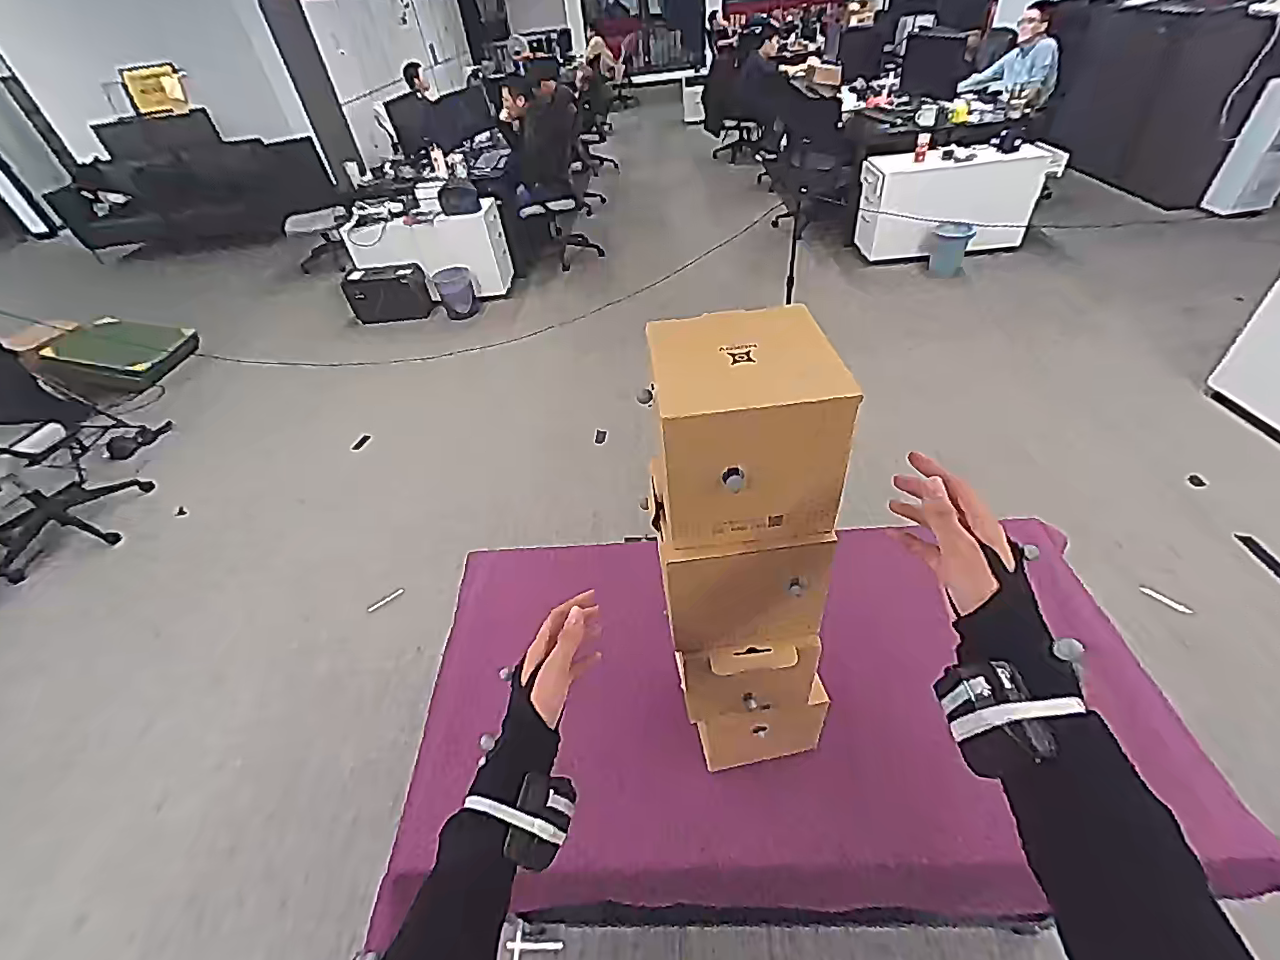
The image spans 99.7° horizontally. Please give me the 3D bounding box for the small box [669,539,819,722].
[{"bbox_3d":[0.133,0.208,0.750,0.168,0.176,0.179,-7,42,1],"label":"small box"}]

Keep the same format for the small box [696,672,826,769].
[{"bbox_3d":[0.170,0.332,0.854,0.179,0.176,0.168,-10,42,-4],"label":"small box"}]

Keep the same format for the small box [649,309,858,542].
[{"bbox_3d":[0.102,-0.050,0.550,0.168,0.176,0.179,-6,41,1],"label":"small box"}]
